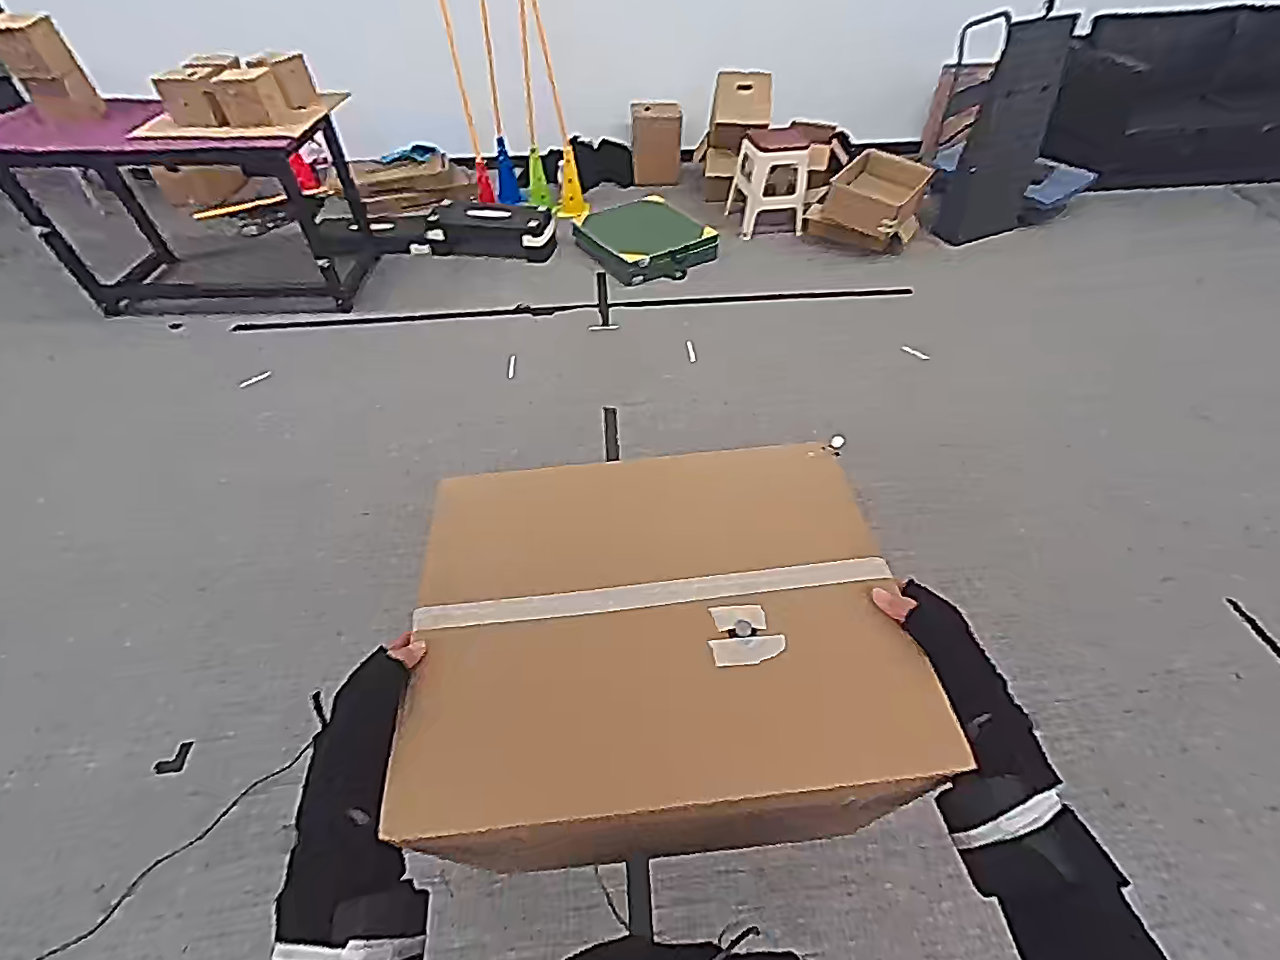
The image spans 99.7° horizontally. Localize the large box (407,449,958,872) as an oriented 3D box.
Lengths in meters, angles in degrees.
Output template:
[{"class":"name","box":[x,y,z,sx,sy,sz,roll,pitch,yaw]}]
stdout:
[{"class":"large box","box":[0.022,0.199,0.586,0.408,0.320,0.320,-6,51,-2]}]
